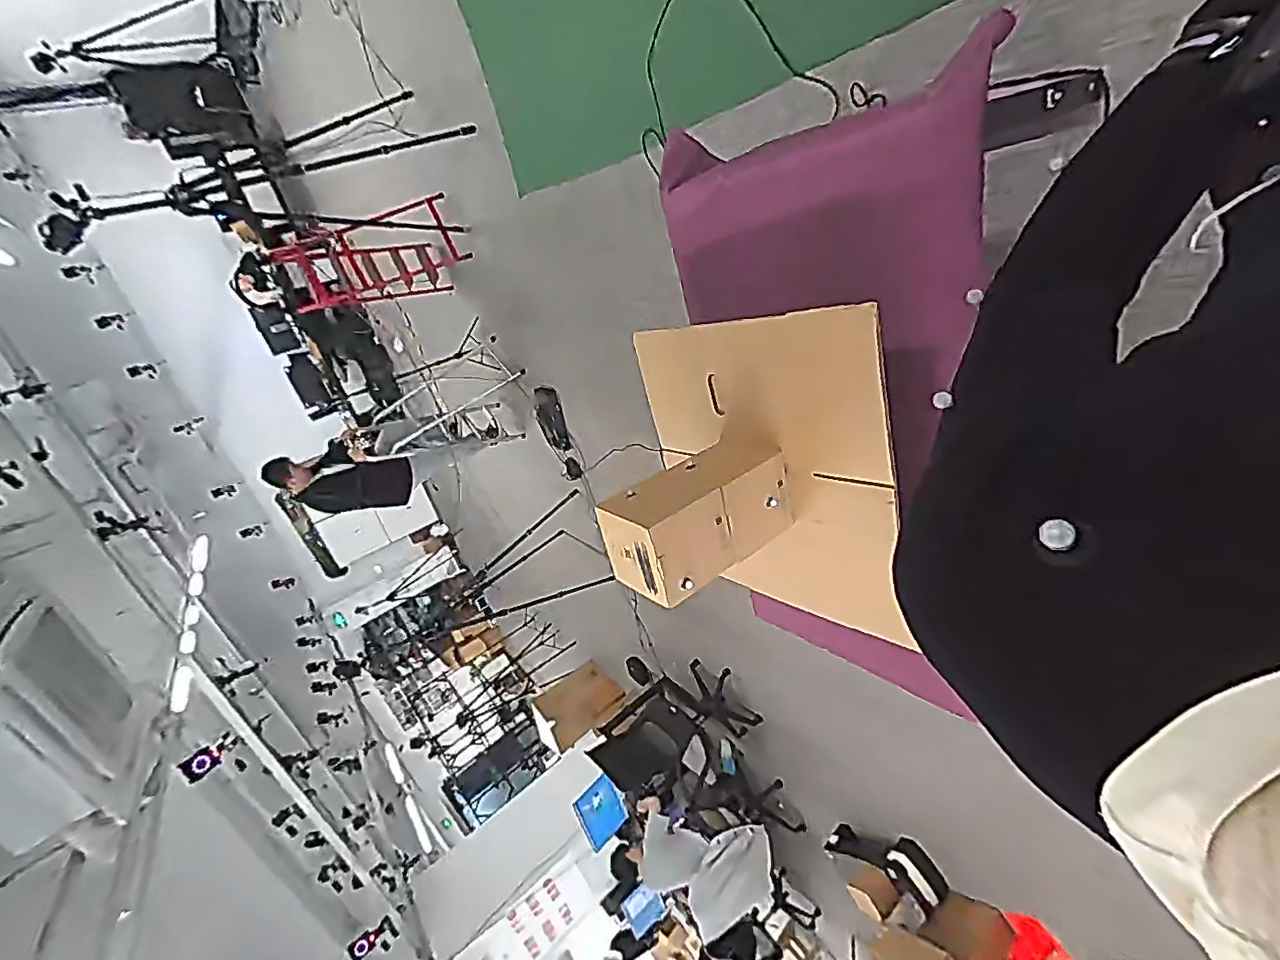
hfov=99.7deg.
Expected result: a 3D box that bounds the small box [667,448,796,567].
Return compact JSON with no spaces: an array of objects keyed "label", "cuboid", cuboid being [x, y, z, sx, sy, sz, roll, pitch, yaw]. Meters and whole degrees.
[{"label":"small box","cuboid":[0.185,0.045,1.086,0.179,0.176,0.168,15,126,52]}]
